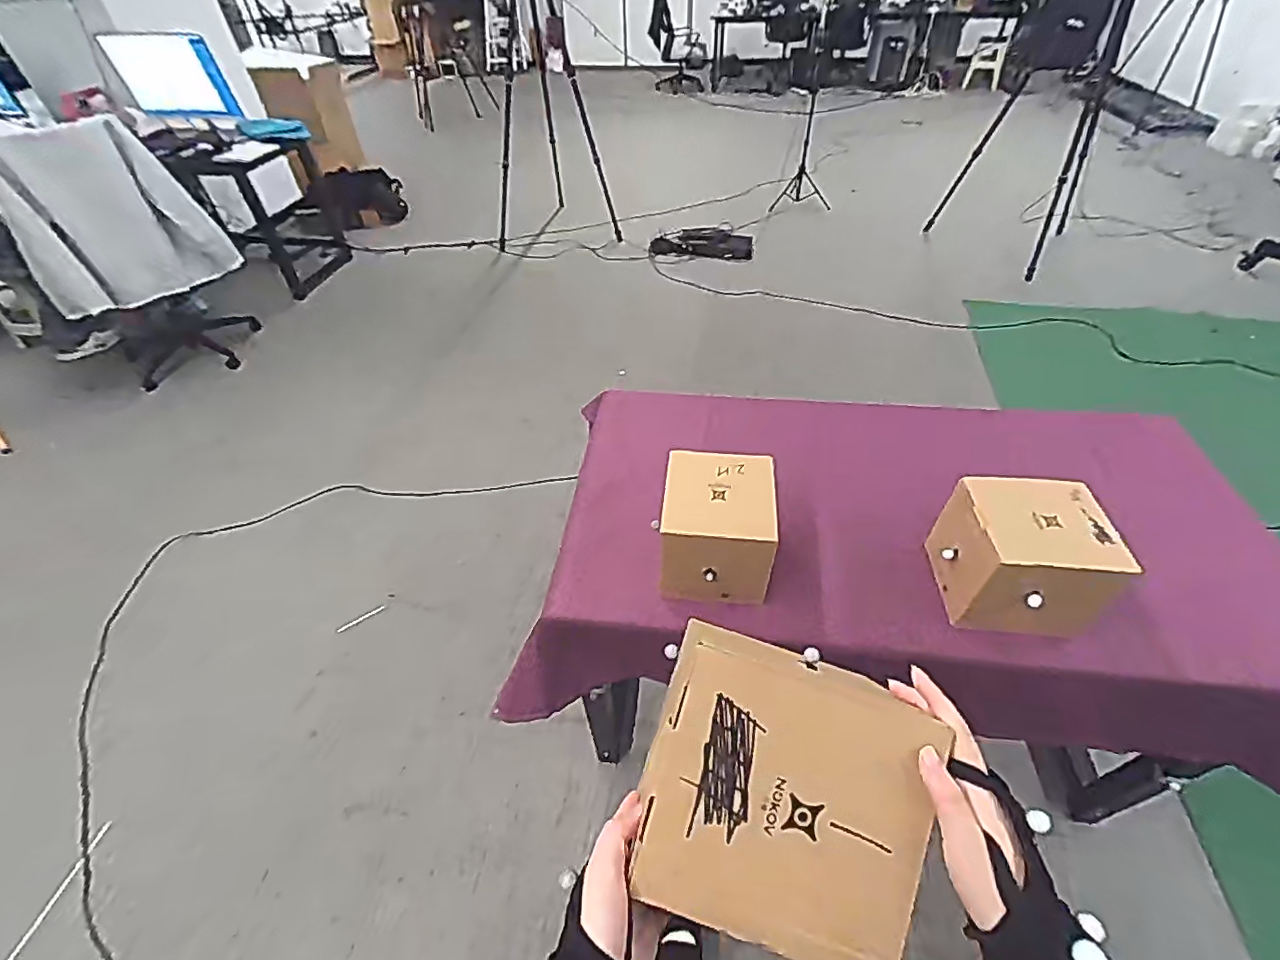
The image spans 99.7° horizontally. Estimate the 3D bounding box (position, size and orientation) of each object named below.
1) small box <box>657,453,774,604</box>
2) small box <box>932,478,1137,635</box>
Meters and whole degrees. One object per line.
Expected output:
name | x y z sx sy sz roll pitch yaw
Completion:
small box | 0.119 0.079 0.865 0.168 0.176 0.179 4 45 6
small box | 0.561 0.115 0.807 0.179 0.176 0.168 3 45 7
